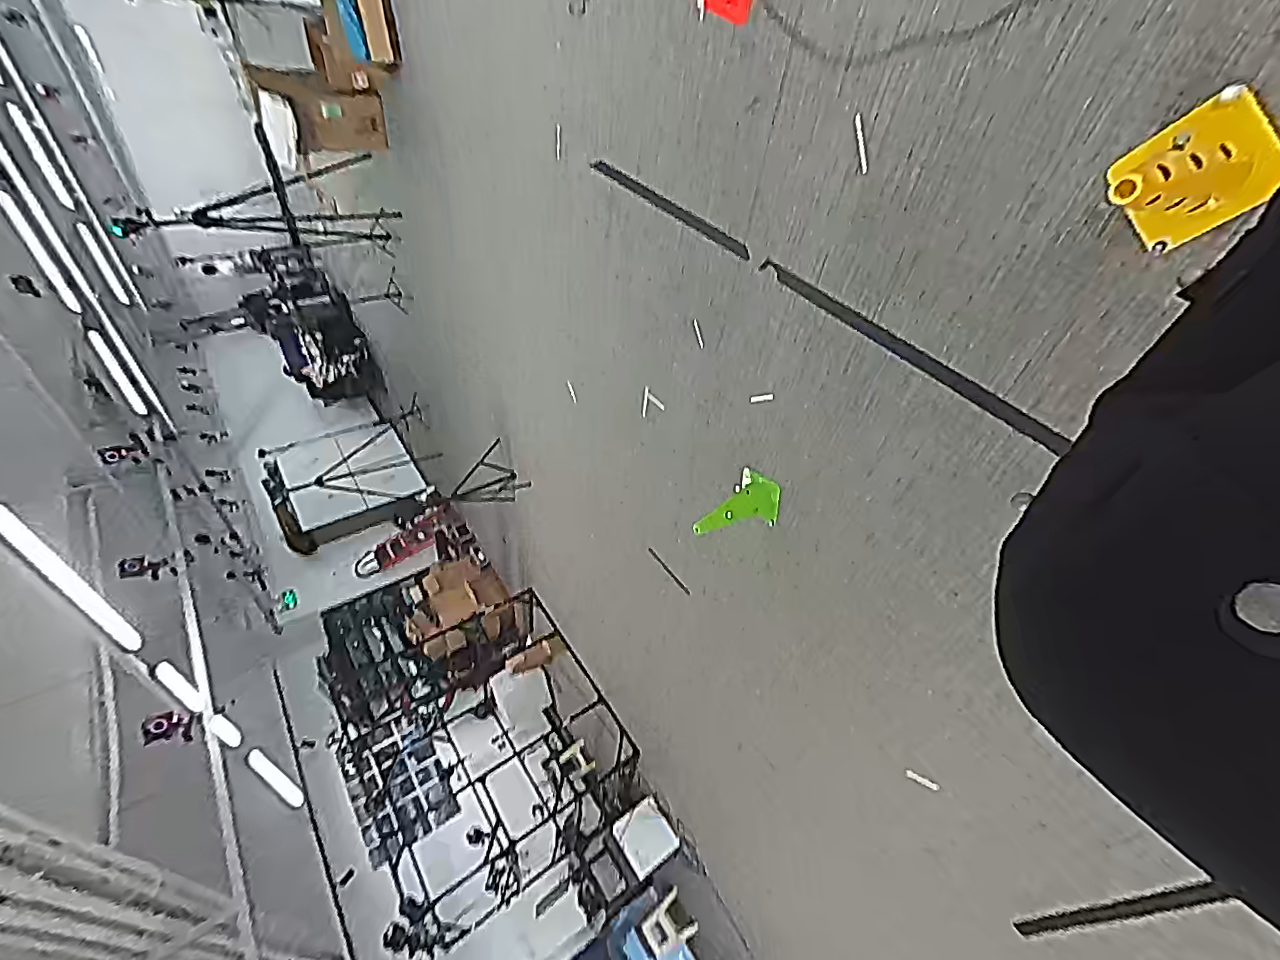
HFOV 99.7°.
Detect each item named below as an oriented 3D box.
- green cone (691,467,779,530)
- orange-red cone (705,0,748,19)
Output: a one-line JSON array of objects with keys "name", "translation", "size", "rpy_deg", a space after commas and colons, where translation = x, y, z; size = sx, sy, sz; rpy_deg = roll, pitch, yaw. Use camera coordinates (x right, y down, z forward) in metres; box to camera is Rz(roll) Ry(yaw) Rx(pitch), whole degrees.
[{"name": "green cone", "translation": [0.357, 0.116, 2.162], "size": [0.202, 0.368, 0.200], "rpy_deg": [36, 138, 45]}, {"name": "orange-red cone", "translation": [0.126, -1.401, 1.457], "size": [0.199, 0.360, 0.198], "rpy_deg": [51, 148, 25]}]
